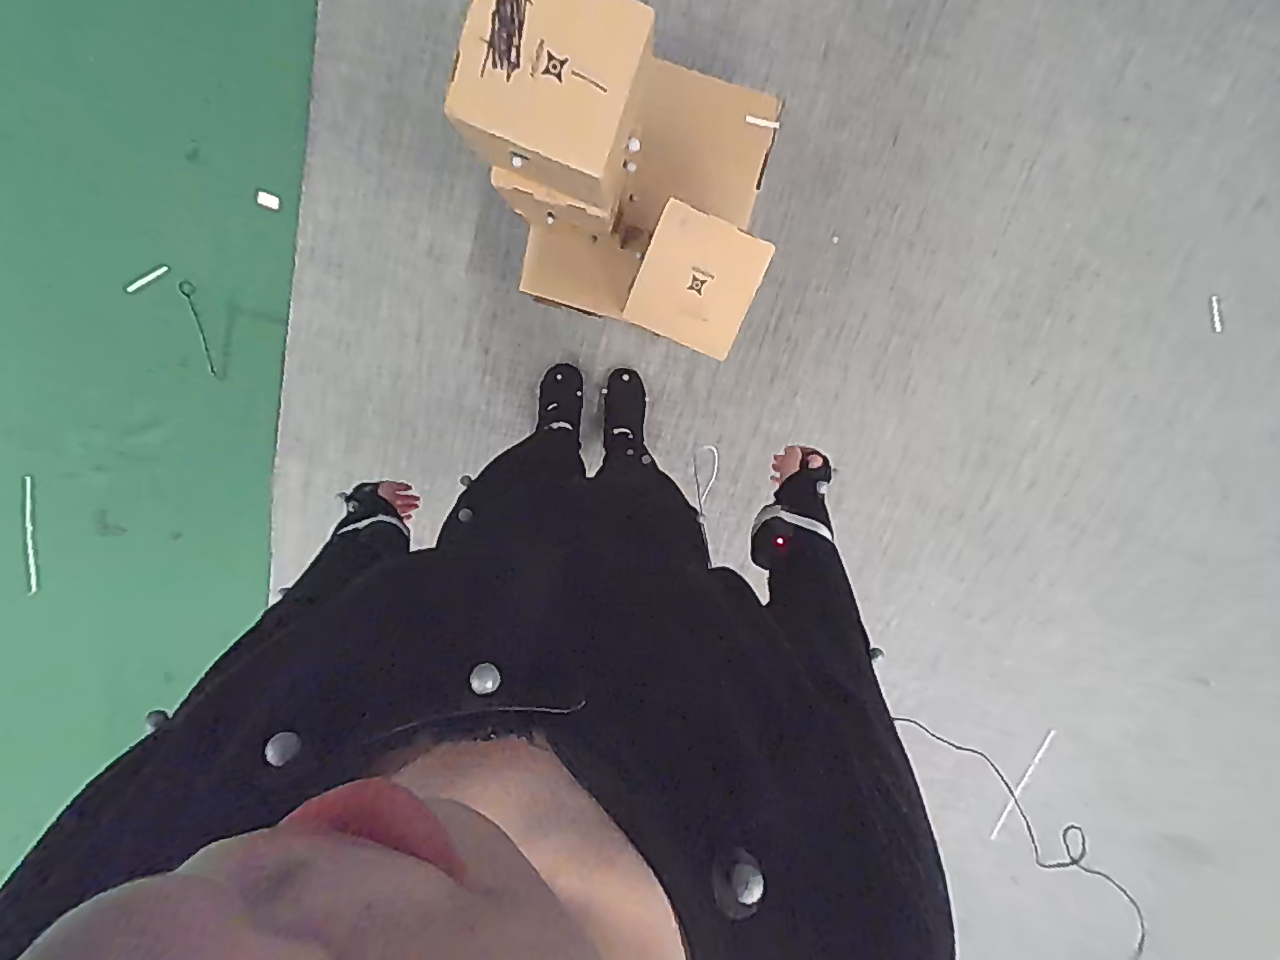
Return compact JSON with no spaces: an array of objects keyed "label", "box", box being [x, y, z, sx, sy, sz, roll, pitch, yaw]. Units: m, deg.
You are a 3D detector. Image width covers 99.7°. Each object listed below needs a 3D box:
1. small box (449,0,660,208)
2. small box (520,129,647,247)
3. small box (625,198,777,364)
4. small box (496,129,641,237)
[{"label":"small box","box":[-0.091,-0.441,0.627,0.179,0.176,0.168,20,105,-7]},{"label":"small box","box":[-0.094,-0.520,0.945,0.179,0.176,0.168,14,104,-4]},{"label":"small box","box":[0.081,-0.299,0.839,0.168,0.176,0.179,23,105,-7]},{"label":"small box","box":[-0.095,-0.477,0.787,0.168,0.176,0.179,15,105,-5]}]
